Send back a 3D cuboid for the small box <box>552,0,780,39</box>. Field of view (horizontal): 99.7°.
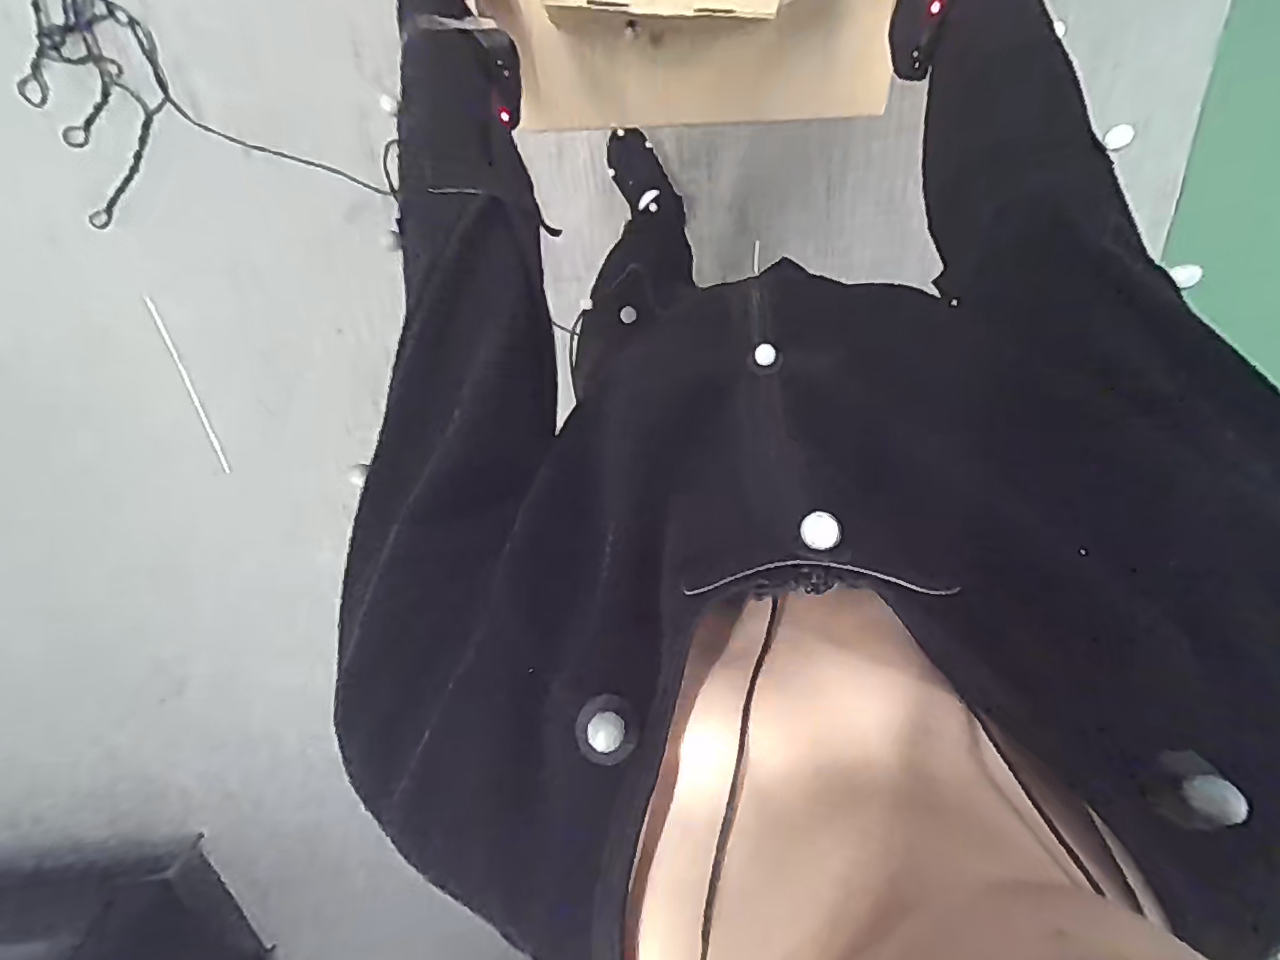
[{"bbox_3d":[0.012,-0.438,0.384,0.168,0.176,0.179,-1,126,-5],"label":"small box"}]

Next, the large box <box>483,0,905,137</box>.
[{"bbox_3d":[0.038,-0.575,0.589,0.408,0.320,0.320,-5,126,-3],"label":"large box"}]
